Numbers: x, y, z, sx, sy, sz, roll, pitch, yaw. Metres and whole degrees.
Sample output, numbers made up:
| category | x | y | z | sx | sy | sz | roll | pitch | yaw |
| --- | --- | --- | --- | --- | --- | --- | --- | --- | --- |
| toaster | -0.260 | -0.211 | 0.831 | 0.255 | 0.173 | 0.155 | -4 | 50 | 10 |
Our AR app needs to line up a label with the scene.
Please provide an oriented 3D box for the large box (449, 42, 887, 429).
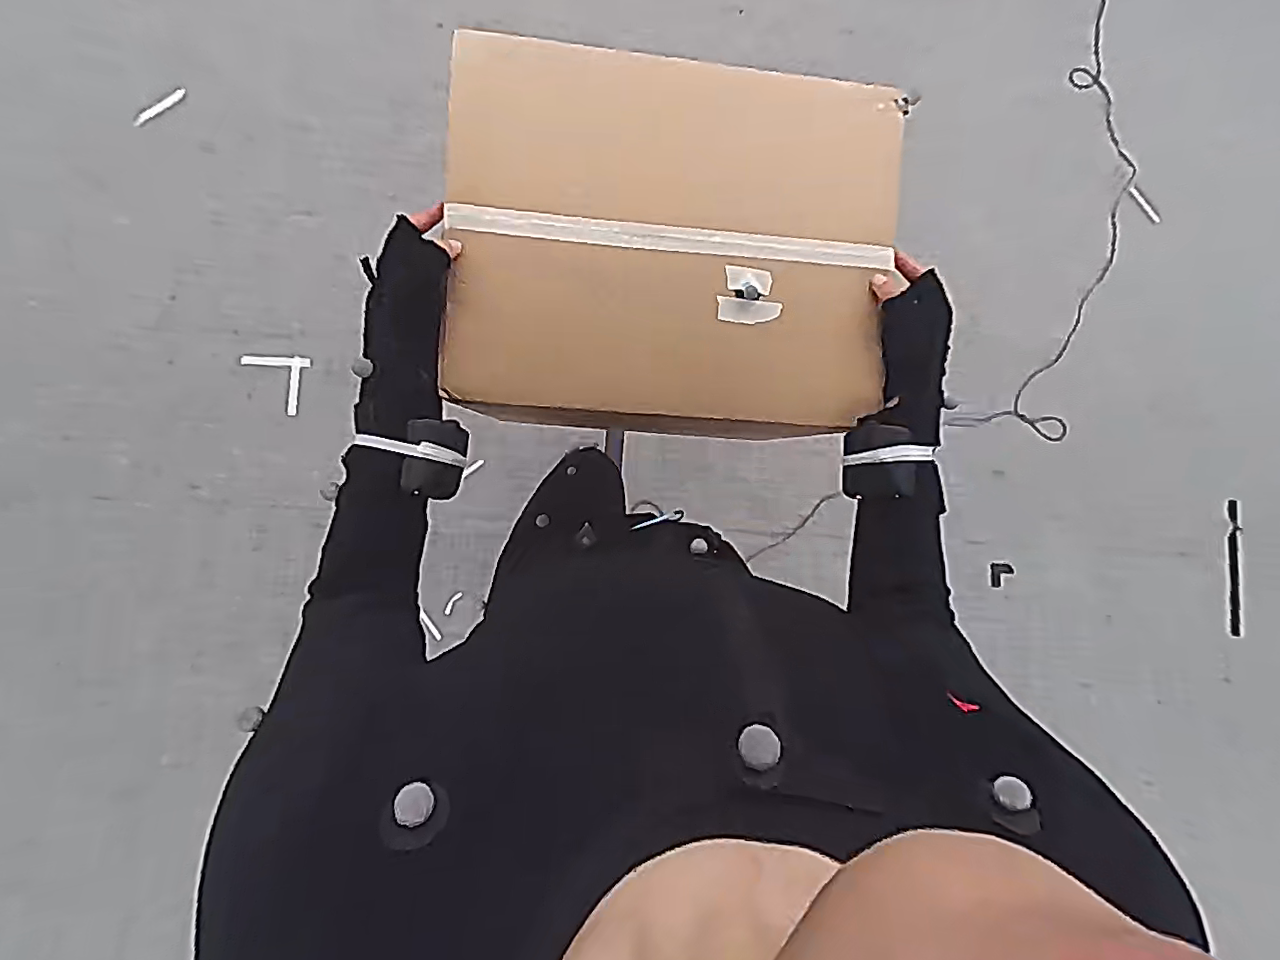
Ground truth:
| category | x | y | z | sx | sy | sz | roll | pitch | yaw |
| --- | --- | --- | --- | --- | --- | --- | --- | --- | --- |
| large box | 0.014 | -0.230 | 0.646 | 0.408 | 0.320 | 0.320 | 3 | 93 | -7 |
